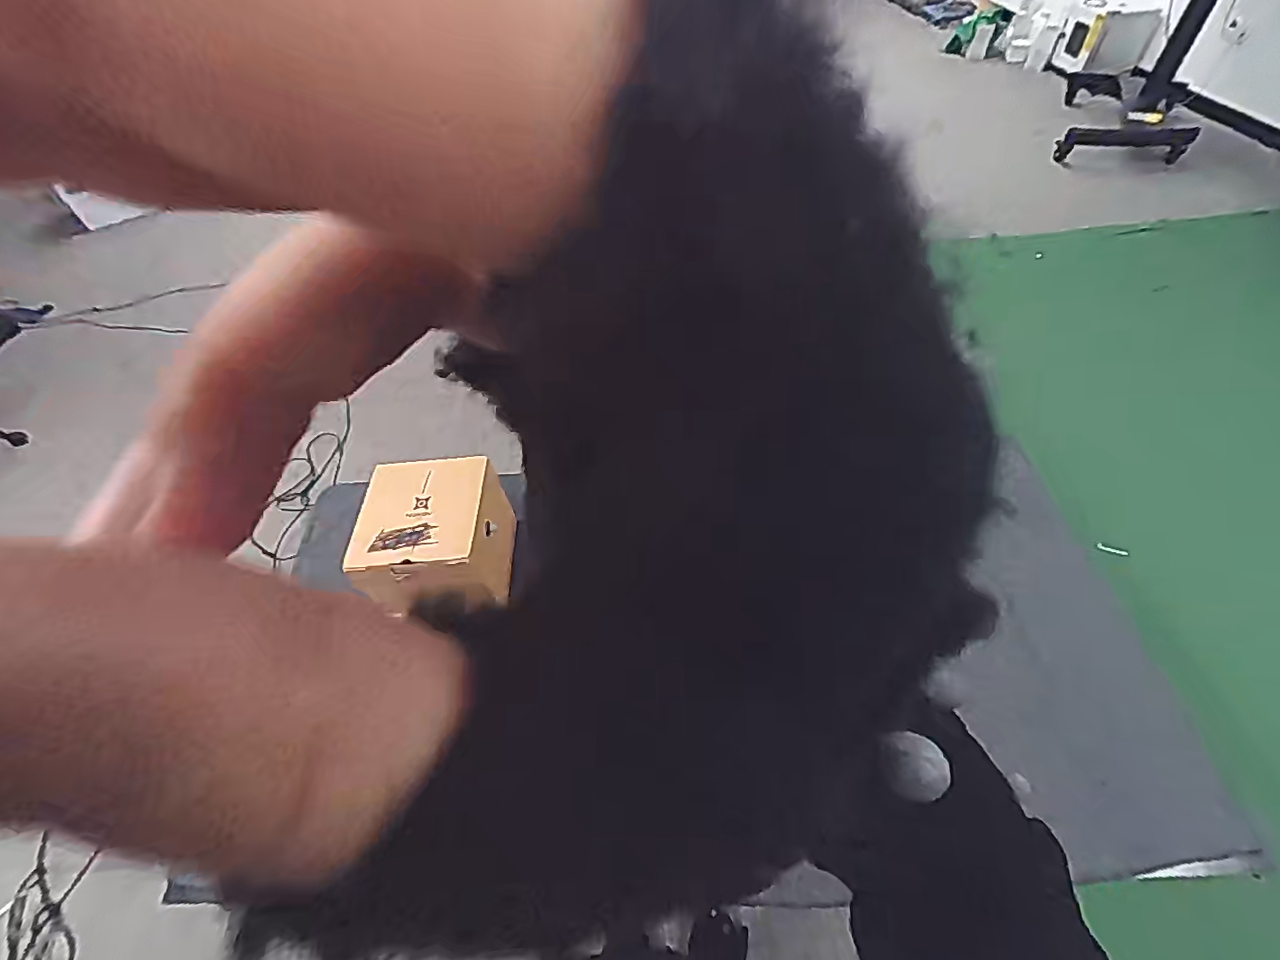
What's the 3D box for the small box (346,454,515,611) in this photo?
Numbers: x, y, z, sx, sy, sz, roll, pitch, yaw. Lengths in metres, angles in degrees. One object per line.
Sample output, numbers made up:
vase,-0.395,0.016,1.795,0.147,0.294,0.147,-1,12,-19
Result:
small box,-0.288,0.085,0.790,0.168,0.176,0.179,-4,51,1
